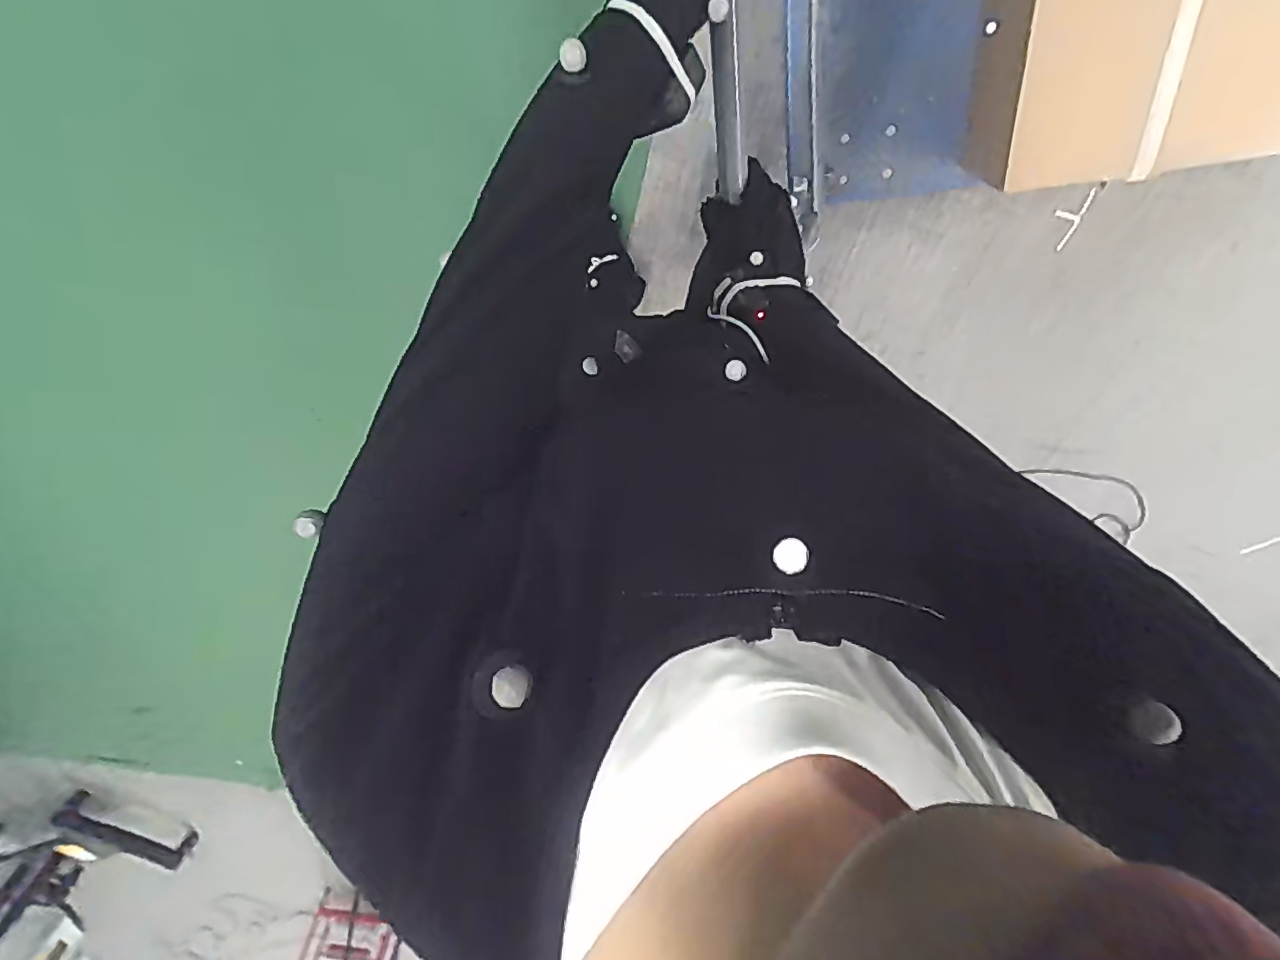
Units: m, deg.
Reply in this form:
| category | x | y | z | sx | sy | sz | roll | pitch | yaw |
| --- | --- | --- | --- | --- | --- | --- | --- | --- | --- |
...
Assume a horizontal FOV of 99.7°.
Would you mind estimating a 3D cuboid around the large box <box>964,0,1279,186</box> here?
| category | x | y | z | sx | sy | sz | roll | pitch | yaw |
| --- | --- | --- | --- | --- | --- | --- | --- | --- | --- |
| large box | 0.663 | -0.669 | 0.743 | 0.320 | 0.320 | 0.408 | 0 | 124 | 19 |
